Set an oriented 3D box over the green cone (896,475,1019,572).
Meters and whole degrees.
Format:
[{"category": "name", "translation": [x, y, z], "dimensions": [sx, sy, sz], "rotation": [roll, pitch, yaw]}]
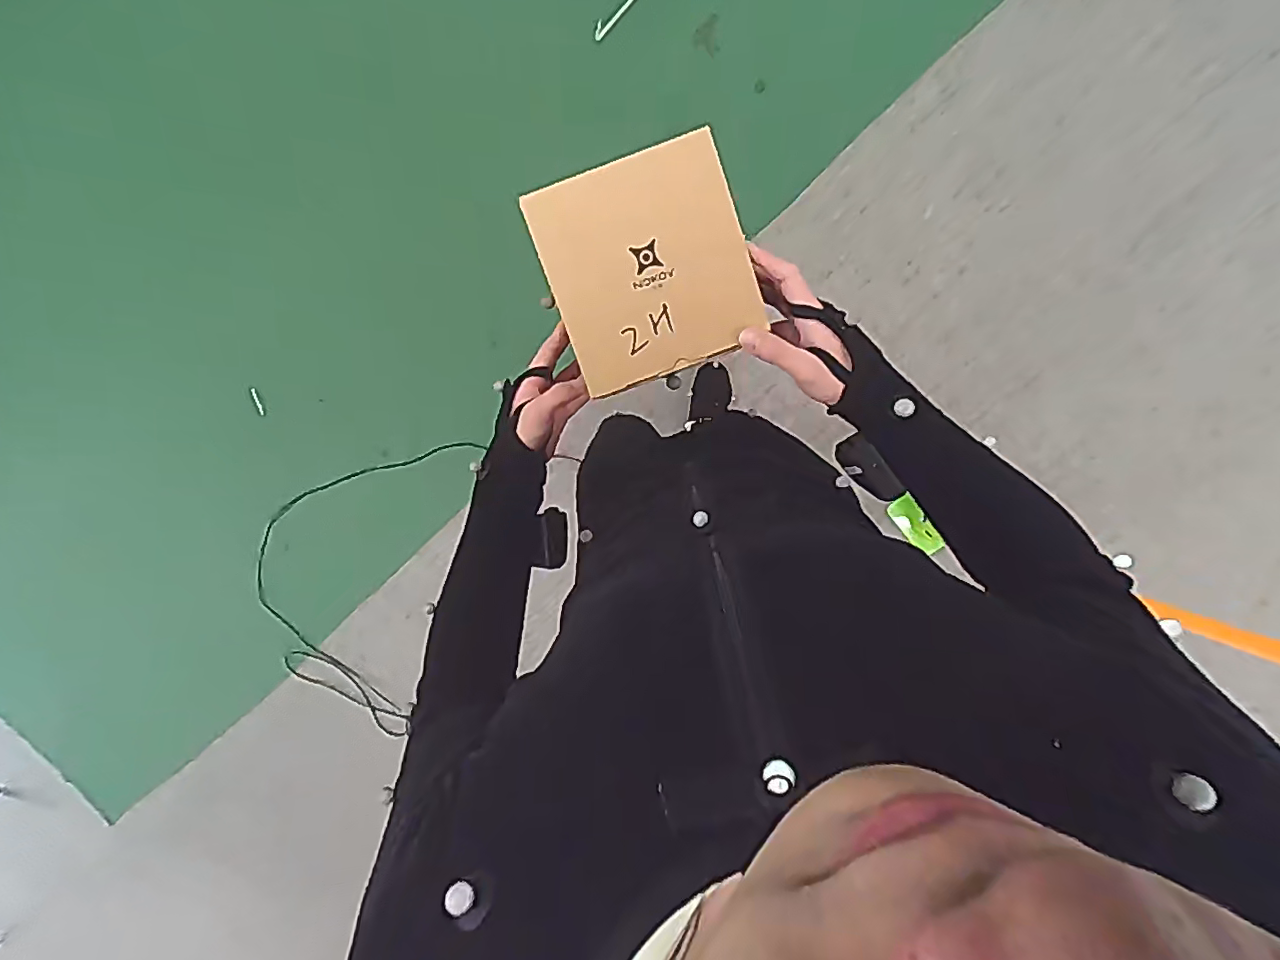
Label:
[{"category": "green cone", "translation": [0.845, 0.146, 1.374], "dimensions": [0.202, 0.368, 0.200], "rotation": [-40, 95, 13]}]
